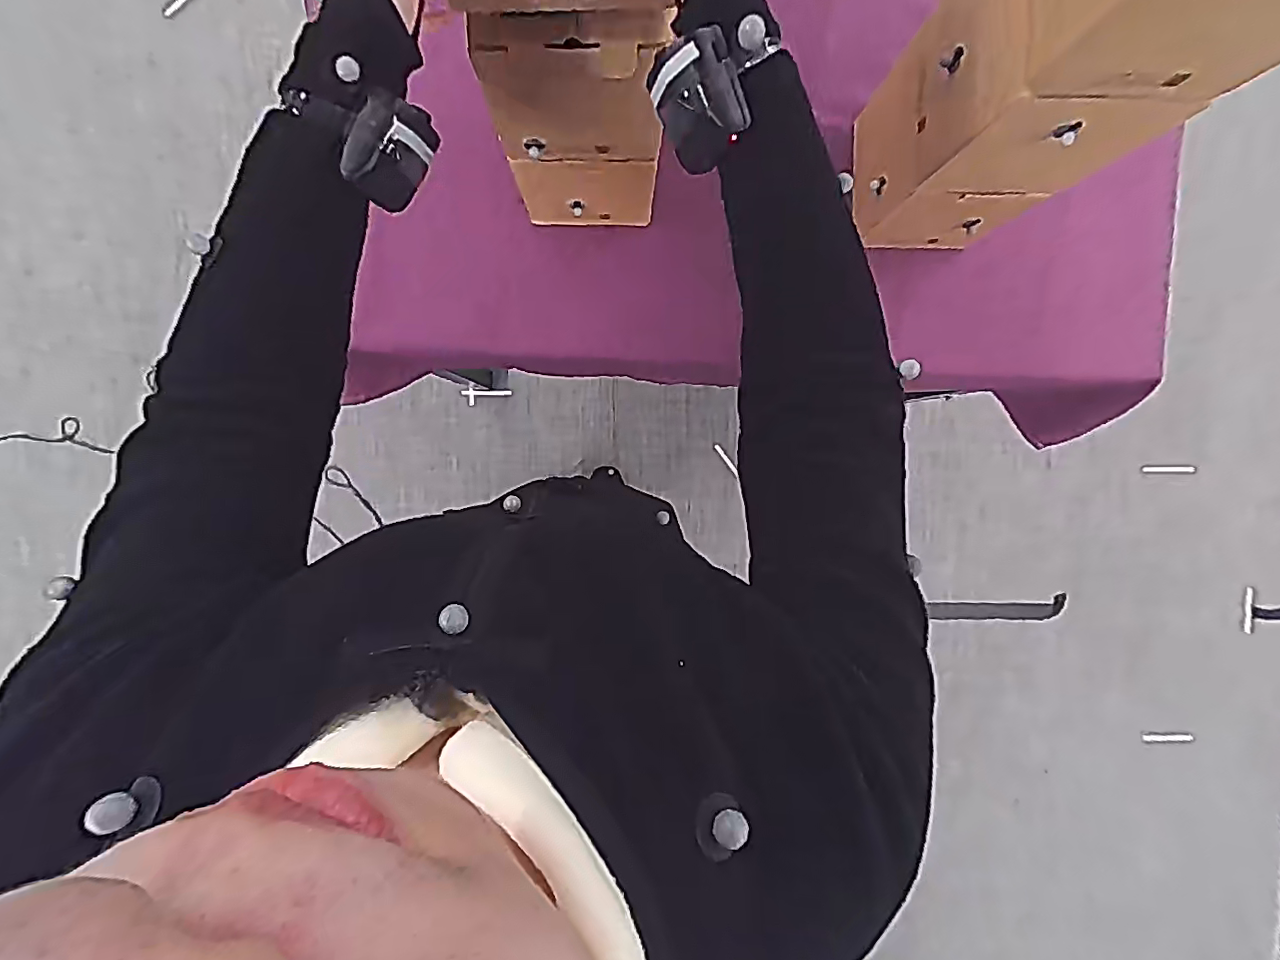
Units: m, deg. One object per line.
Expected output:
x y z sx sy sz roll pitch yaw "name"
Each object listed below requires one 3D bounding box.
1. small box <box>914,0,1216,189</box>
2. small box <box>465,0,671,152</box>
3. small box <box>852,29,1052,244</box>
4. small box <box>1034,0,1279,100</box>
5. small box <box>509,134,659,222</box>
0.389 -0.401 0.519 0.179 0.176 0.168 -1 94 -3 "small box"
-0.060 -0.432 0.501 0.168 0.176 0.179 -2 94 -3 "small box"
0.383 -0.415 0.683 0.168 0.176 0.179 0 93 -3 "small box"
0.400 -0.396 0.355 0.168 0.176 0.179 0 93 -2 "small box"
-0.065 -0.442 0.665 0.168 0.176 0.179 -1 94 -2 "small box"
